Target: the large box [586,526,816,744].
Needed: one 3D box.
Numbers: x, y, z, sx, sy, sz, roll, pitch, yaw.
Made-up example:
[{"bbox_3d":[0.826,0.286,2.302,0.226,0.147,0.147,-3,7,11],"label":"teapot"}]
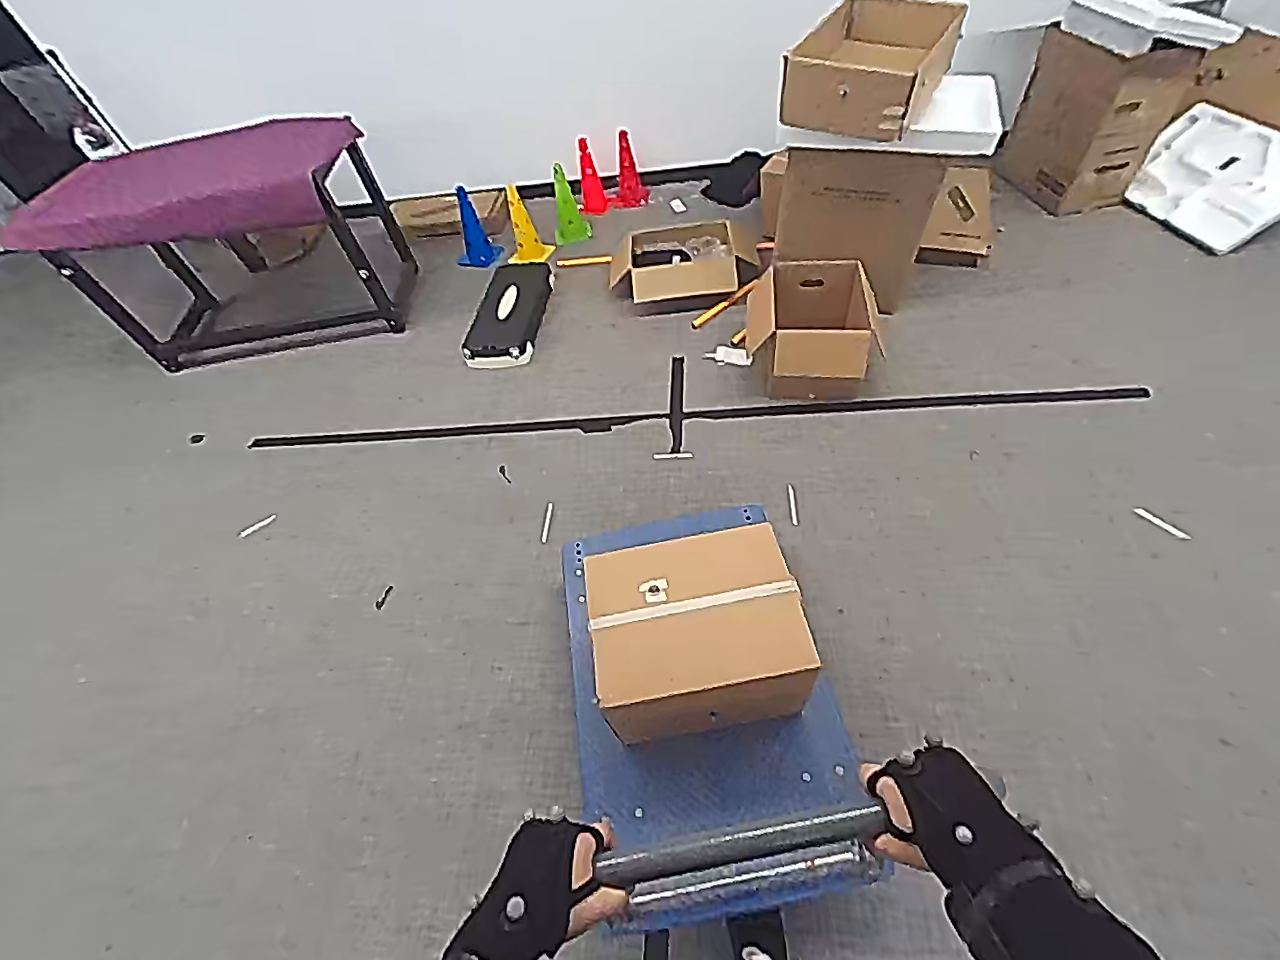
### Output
[{"bbox_3d":[0.123,0.346,1.180,0.408,0.320,0.320,-12,51,1],"label":"large box"}]
